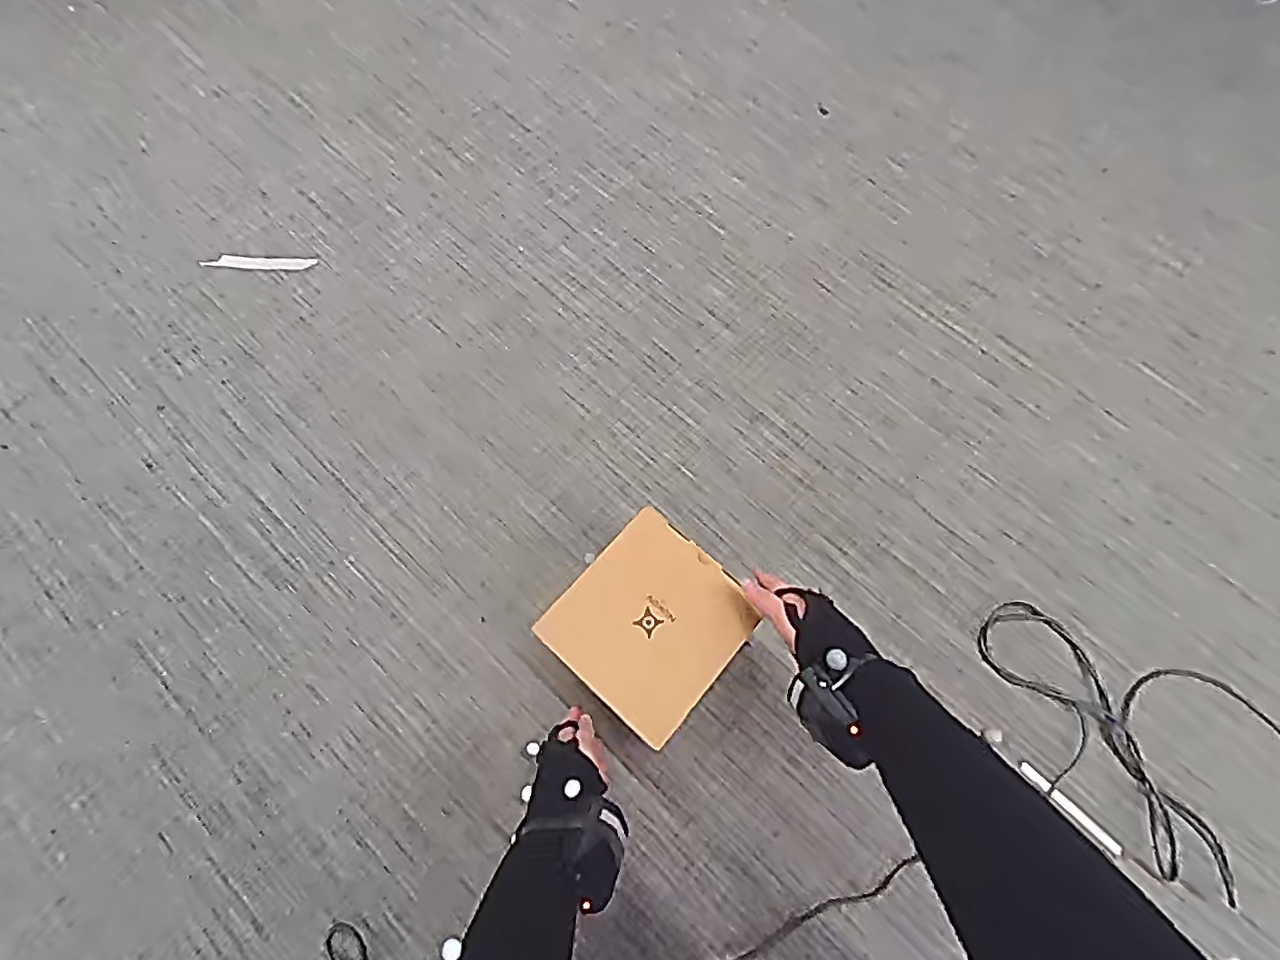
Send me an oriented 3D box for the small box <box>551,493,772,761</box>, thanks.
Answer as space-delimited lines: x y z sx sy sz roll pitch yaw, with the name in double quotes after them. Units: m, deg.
0.024 0.146 0.568 0.179 0.176 0.168 28 49 26 "small box"
